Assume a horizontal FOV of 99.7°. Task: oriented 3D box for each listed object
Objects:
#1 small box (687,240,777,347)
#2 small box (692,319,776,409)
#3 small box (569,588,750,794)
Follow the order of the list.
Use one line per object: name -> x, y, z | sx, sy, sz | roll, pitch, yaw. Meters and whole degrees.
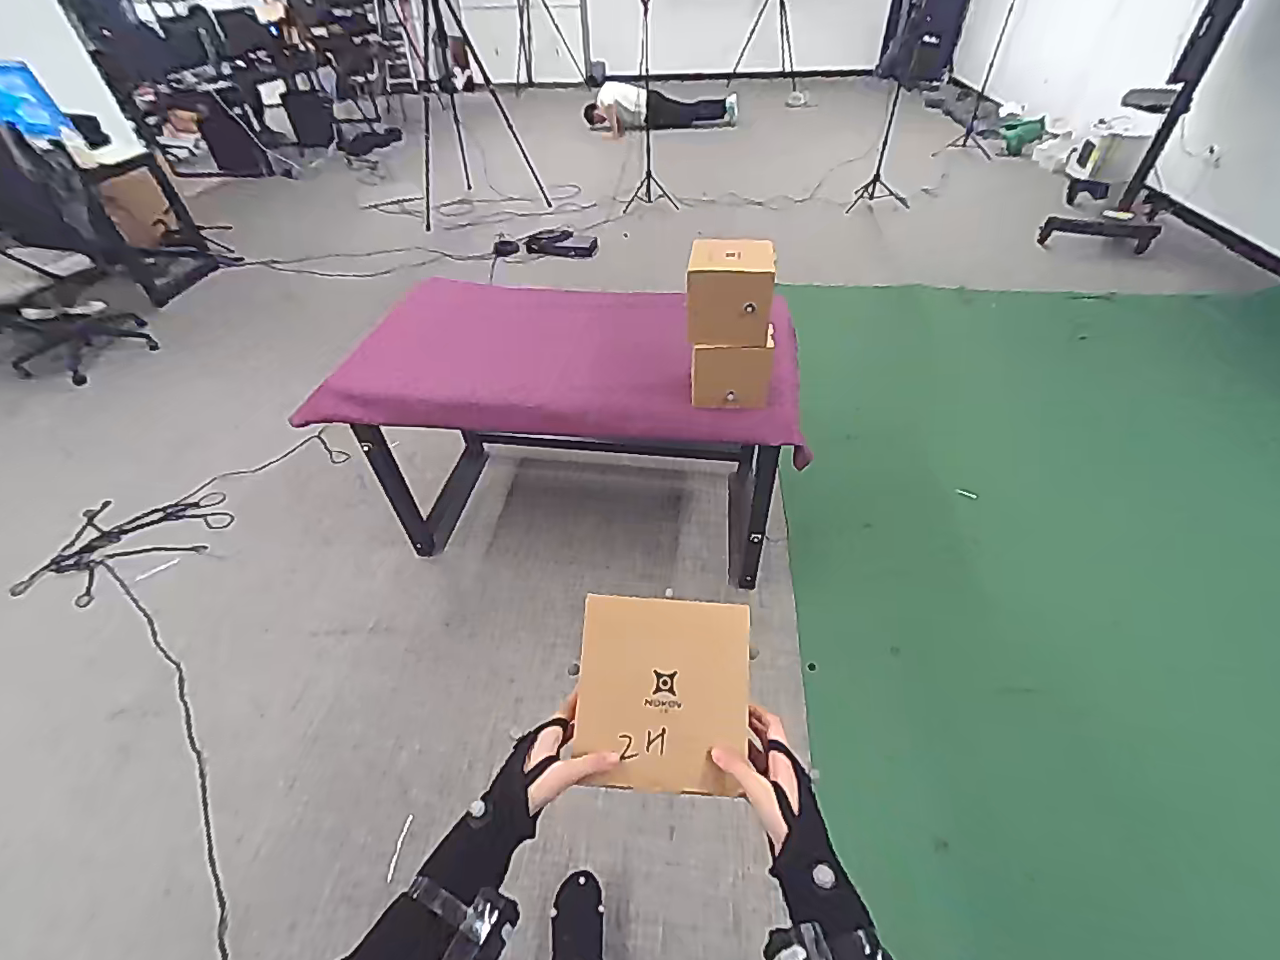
small box -> 0.197, -0.403, 1.174 | 0.179, 0.176, 0.168 | 4, 45, 9
small box -> 0.214, -0.280, 1.281 | 0.179, 0.176, 0.168 | 1, 44, 4
small box -> 0.021, 0.220, 0.595 | 0.168, 0.176, 0.179 | 4, 75, 2
